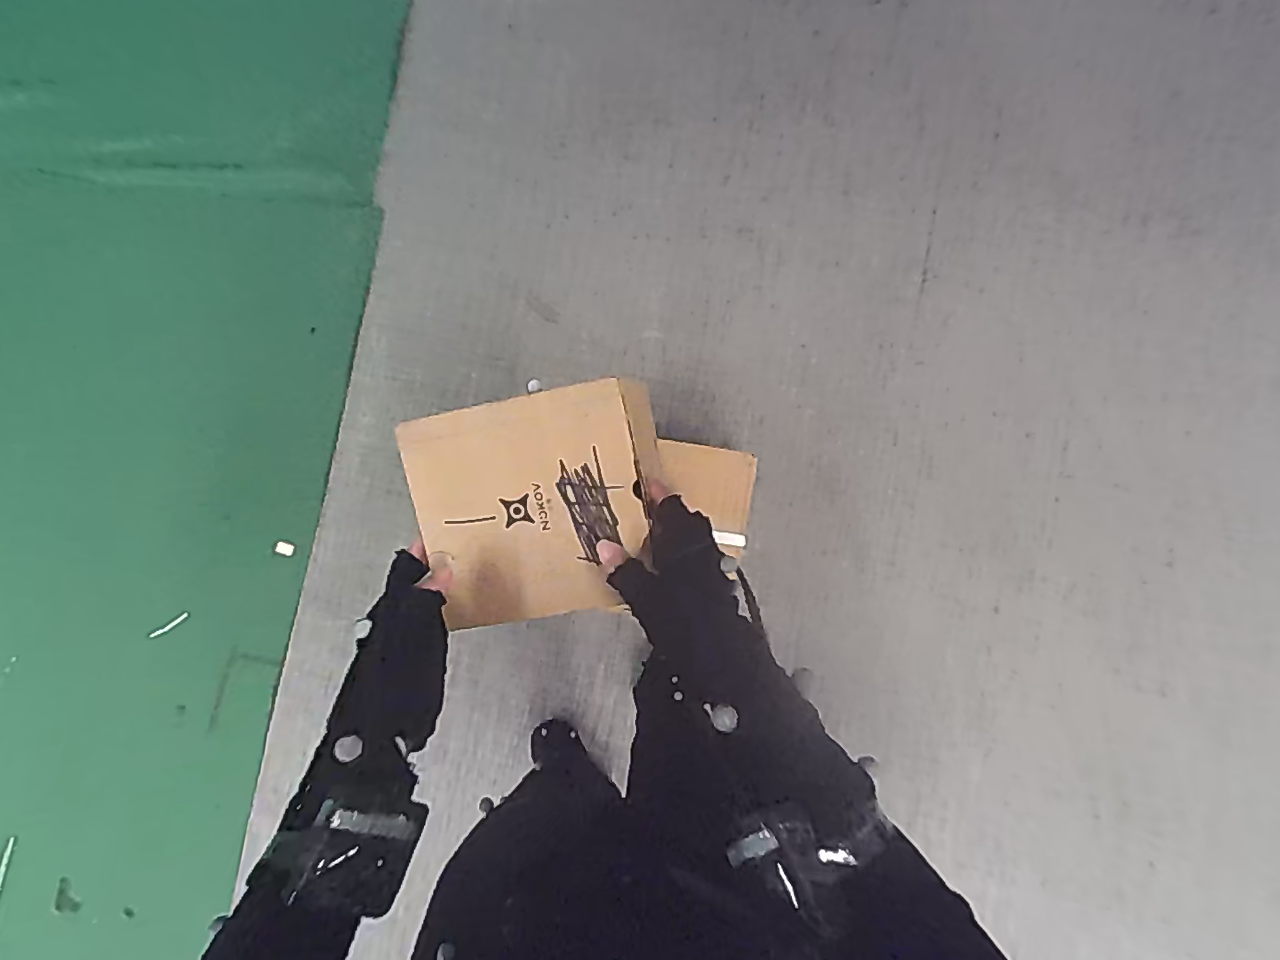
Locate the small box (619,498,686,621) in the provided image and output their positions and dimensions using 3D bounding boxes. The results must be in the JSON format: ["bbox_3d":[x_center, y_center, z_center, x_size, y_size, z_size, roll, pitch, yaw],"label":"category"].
[{"bbox_3d":[-0.019,0.111,0.869,0.168,0.176,0.179,7,88,9],"label":"small box"}]

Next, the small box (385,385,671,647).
[{"bbox_3d":[-0.075,0.017,0.468,0.179,0.176,0.168,-14,97,8],"label":"small box"}]
